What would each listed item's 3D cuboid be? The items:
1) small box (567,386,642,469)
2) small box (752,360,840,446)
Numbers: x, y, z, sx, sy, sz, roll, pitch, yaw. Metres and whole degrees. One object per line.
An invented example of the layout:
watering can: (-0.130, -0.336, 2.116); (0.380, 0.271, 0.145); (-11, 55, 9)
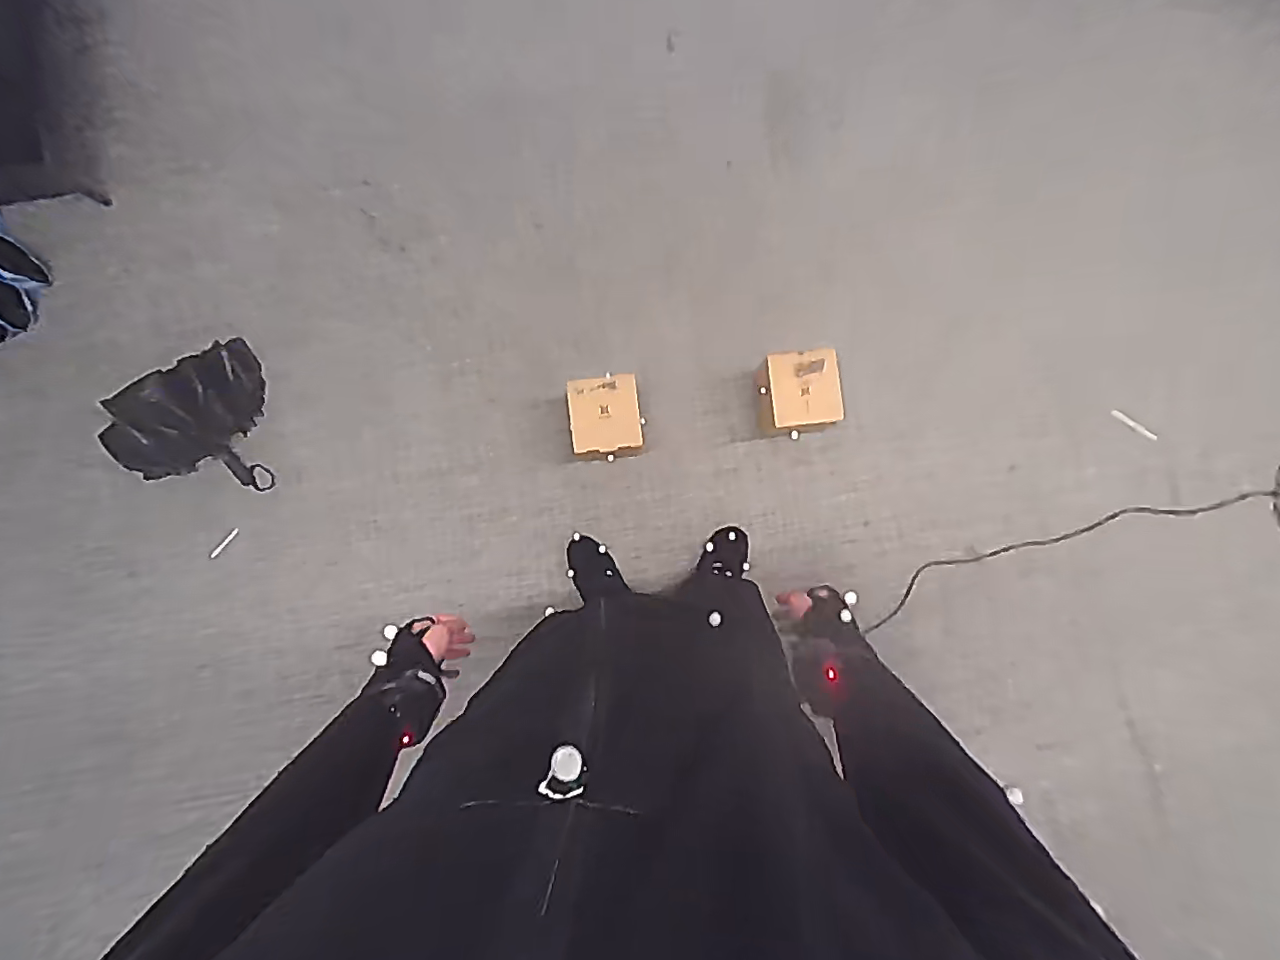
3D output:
small box: (-0.085, -0.125, 1.372); (0.168, 0.176, 0.179); (-7, 85, 0)
small box: (0.388, -0.190, 1.375); (0.168, 0.176, 0.179); (-7, 86, 0)
